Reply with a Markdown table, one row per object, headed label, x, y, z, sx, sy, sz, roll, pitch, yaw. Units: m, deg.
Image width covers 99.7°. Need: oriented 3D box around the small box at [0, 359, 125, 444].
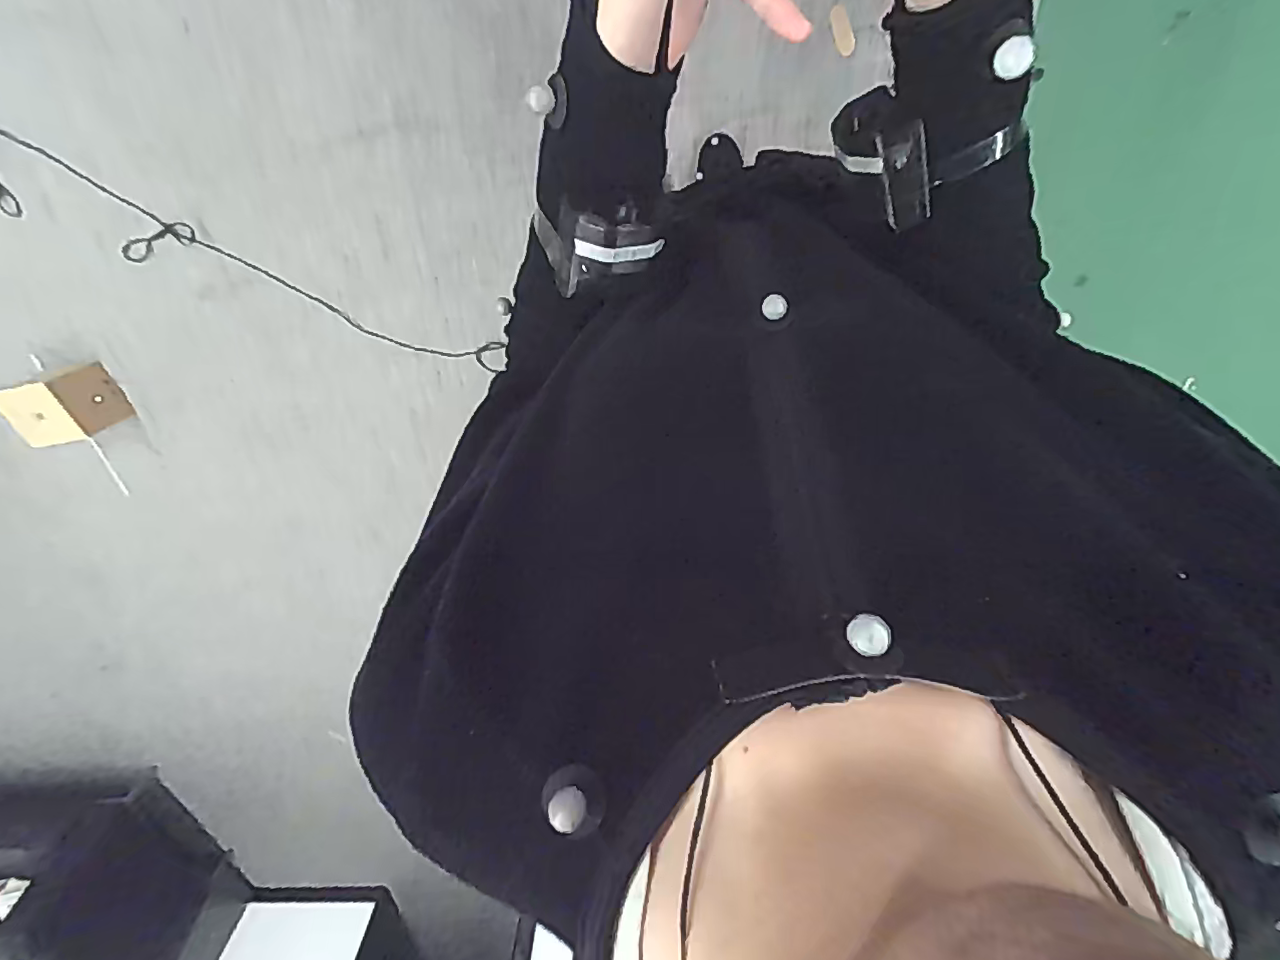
| label | x | y | z | sx | sy | sz | roll | pitch | yaw |
| --- | --- | --- | --- | --- | --- | --- | --- | --- | --- |
| small box | -1.581 | -0.219 | 1.480 | 0.179 | 0.176 | 0.168 | -8 | 121 | 7 |
